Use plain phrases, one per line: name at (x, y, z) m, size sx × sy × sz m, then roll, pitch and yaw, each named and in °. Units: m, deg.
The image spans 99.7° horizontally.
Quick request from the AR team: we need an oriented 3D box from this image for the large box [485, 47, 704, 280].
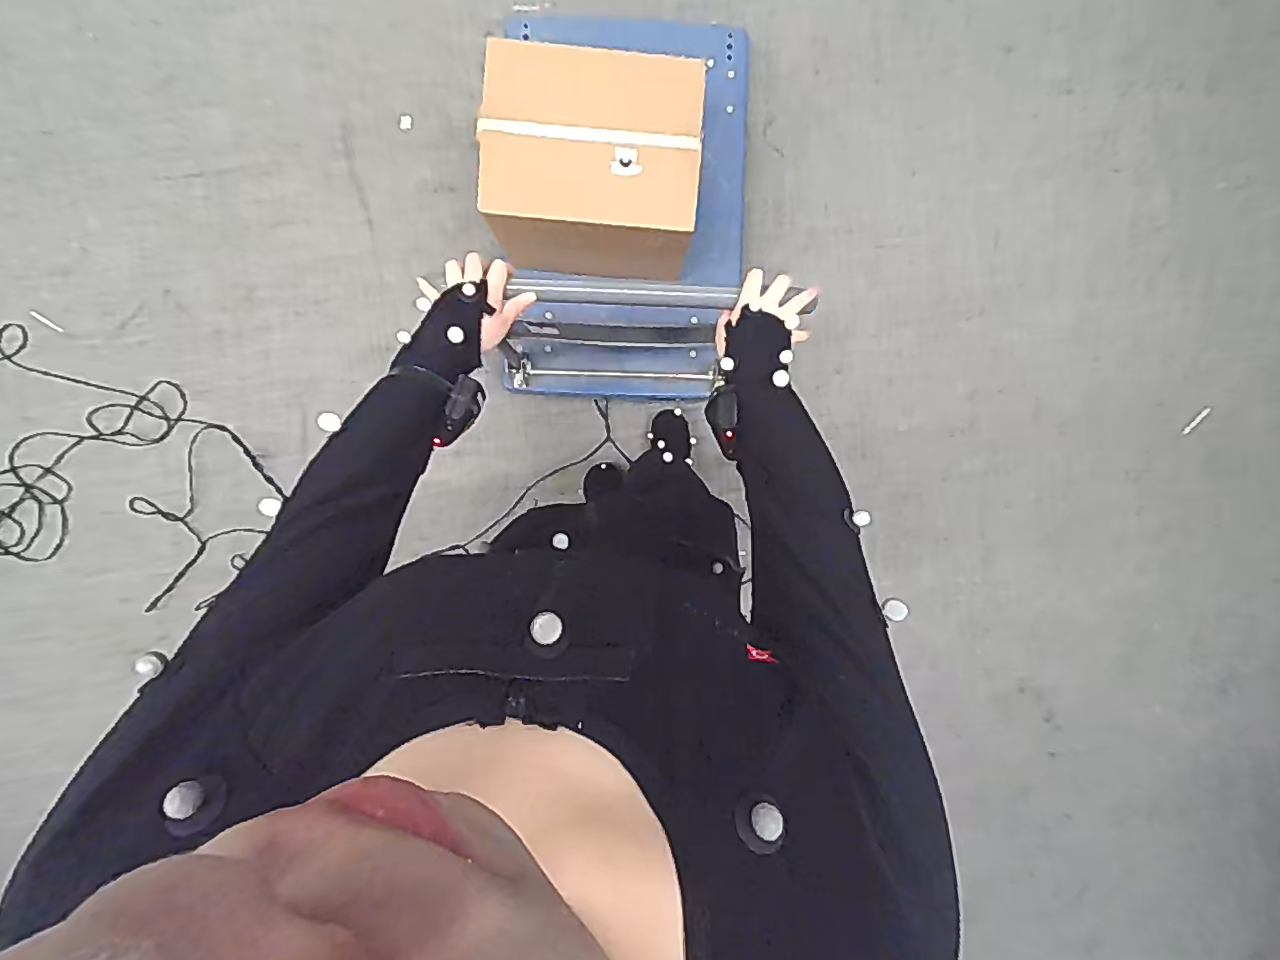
large box at (-0.094, -0.644, 1.161) m, size 0.408 × 0.320 × 0.320 m, roll 4°, pitch 93°, yaw -3°
